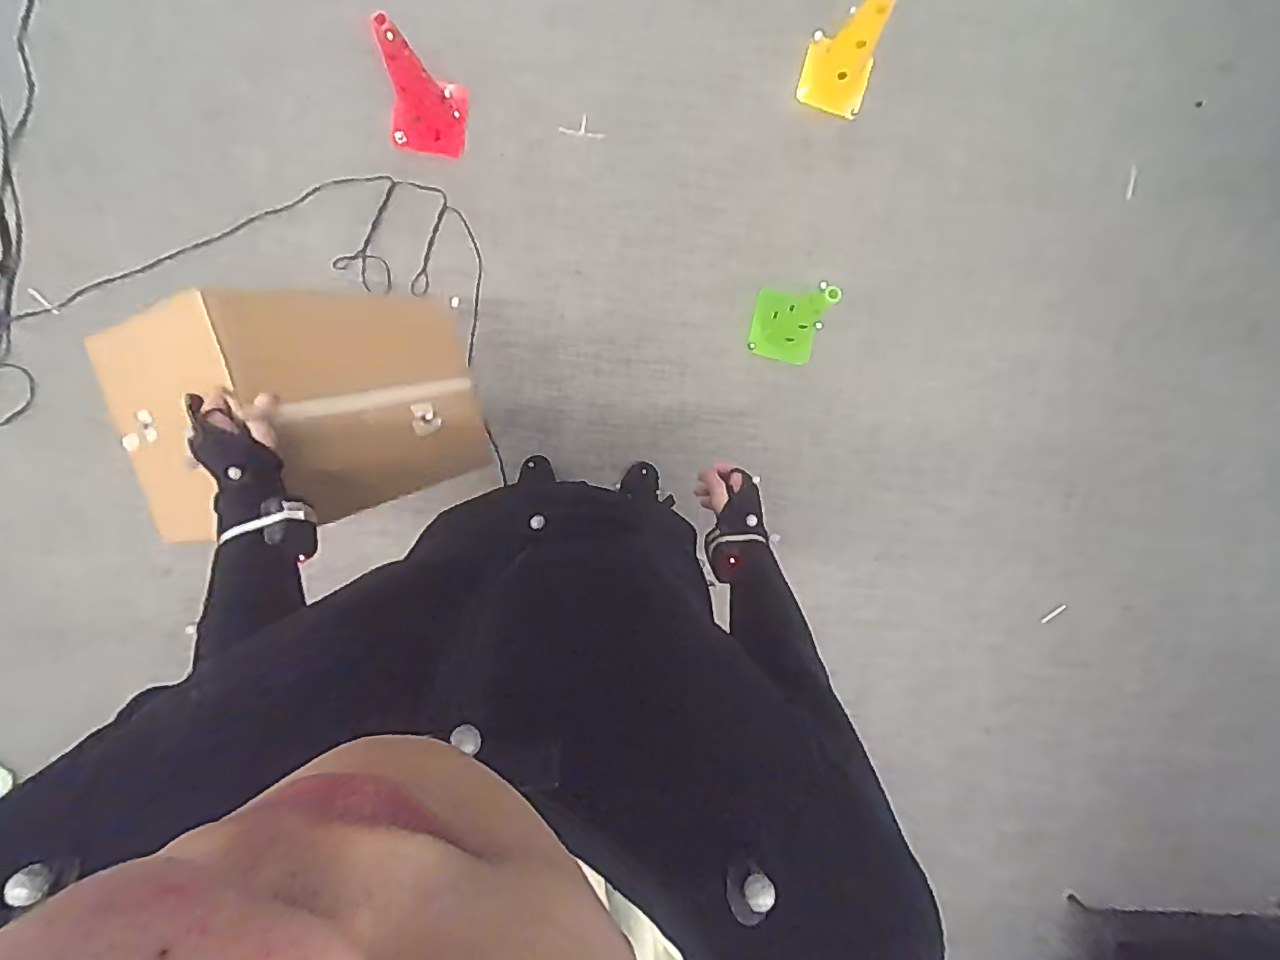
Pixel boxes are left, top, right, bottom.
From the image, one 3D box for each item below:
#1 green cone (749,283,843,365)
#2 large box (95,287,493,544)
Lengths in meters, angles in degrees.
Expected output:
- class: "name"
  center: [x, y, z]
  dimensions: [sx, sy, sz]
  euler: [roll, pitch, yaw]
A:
- class: "green cone"
  center: [0.461, -0.459, 1.484]
  dimensions: [0.200, 0.368, 0.202]
  euler: [12, 91, -6]
- class: "large box"
  center: [-0.523, -0.117, 0.890]
  dimensions: [0.320, 0.408, 0.320]
  euler: [-6, 104, 27]
